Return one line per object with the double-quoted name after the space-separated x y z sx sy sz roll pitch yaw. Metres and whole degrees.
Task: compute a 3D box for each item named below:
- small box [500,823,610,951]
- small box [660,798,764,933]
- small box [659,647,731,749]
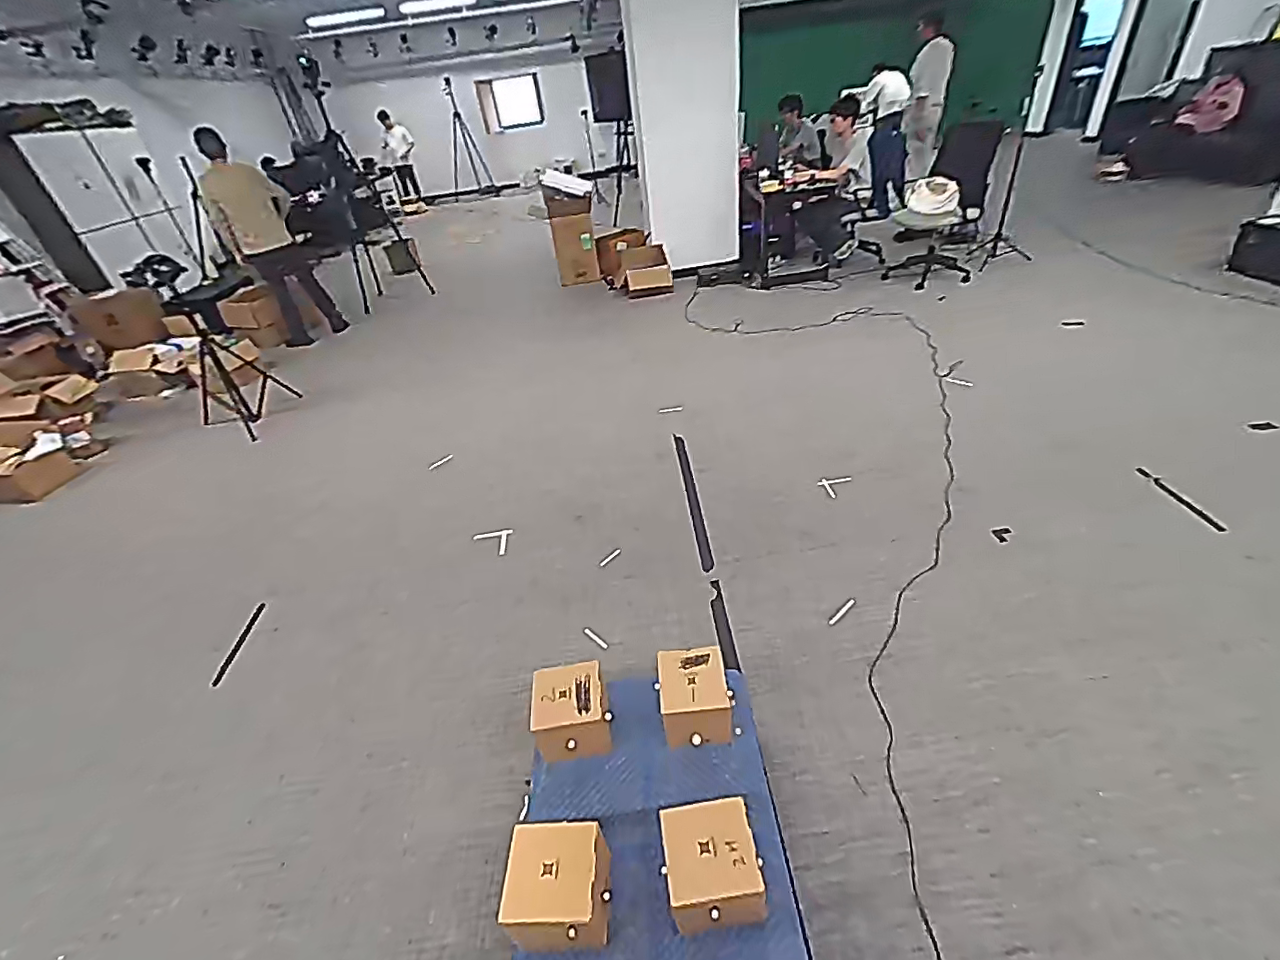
-0.162 0.821 1.089 0.179 0.176 0.168 -5 35 3 "small box"
0.145 0.774 1.085 0.179 0.176 0.168 -10 36 0 "small box"
0.138 0.557 1.385 0.168 0.176 0.179 -7 37 3 "small box"
